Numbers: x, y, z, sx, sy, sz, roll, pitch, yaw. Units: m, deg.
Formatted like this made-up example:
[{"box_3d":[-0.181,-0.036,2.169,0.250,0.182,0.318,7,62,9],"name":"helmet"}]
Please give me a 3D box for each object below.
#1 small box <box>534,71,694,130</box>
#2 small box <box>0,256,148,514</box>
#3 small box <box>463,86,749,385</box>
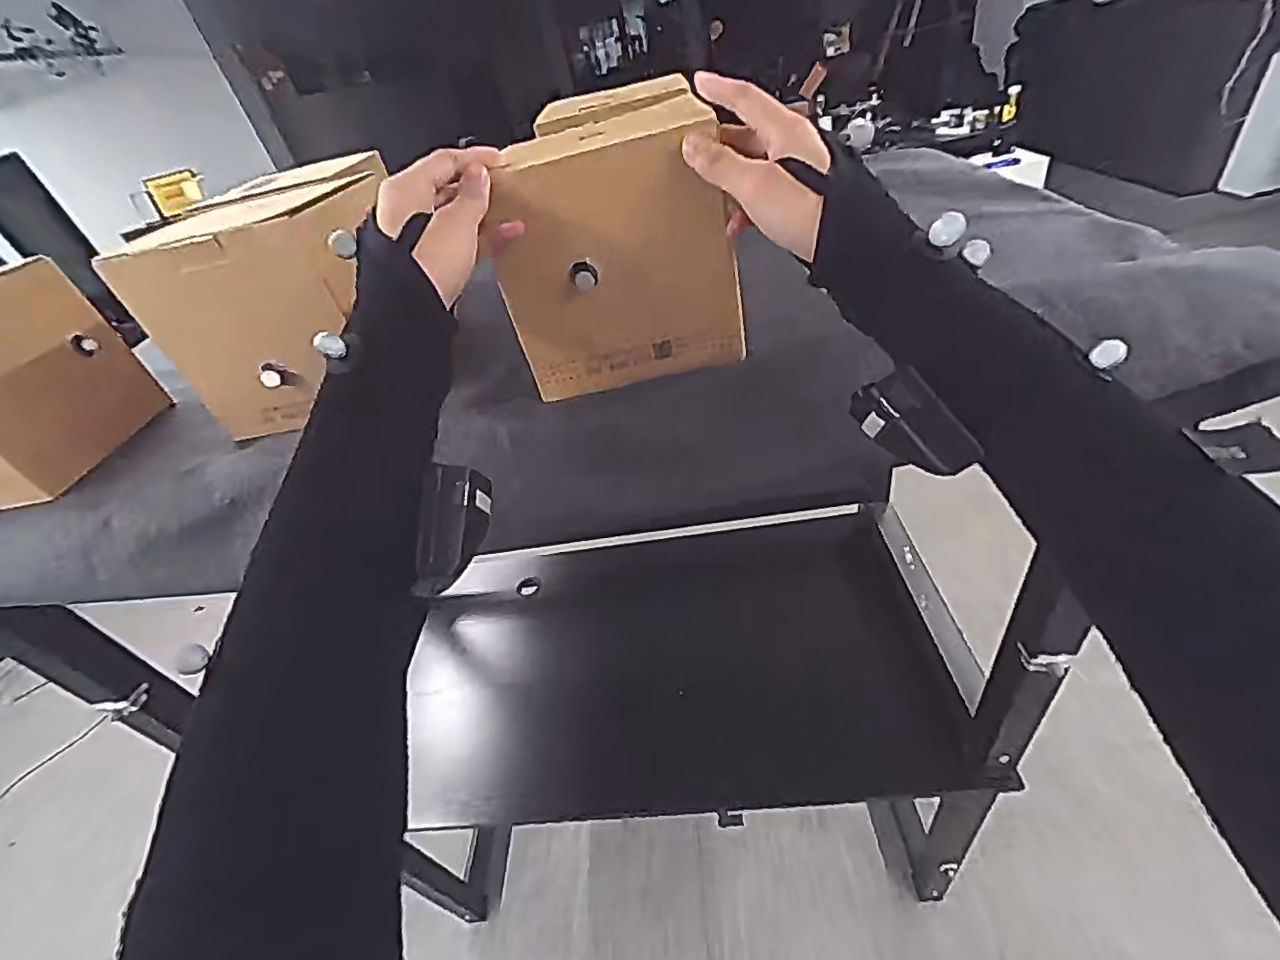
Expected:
[{"box_3d":[-0.012,-0.367,0.648,0.168,0.176,0.179,-10,39,7],"name":"small box"},{"box_3d":[-0.614,-0.079,0.488,0.168,0.176,0.179,-11,38,5],"name":"small box"},{"box_3d":[-0.014,-0.189,0.432,0.168,0.176,0.179,-11,37,6],"name":"small box"}]
